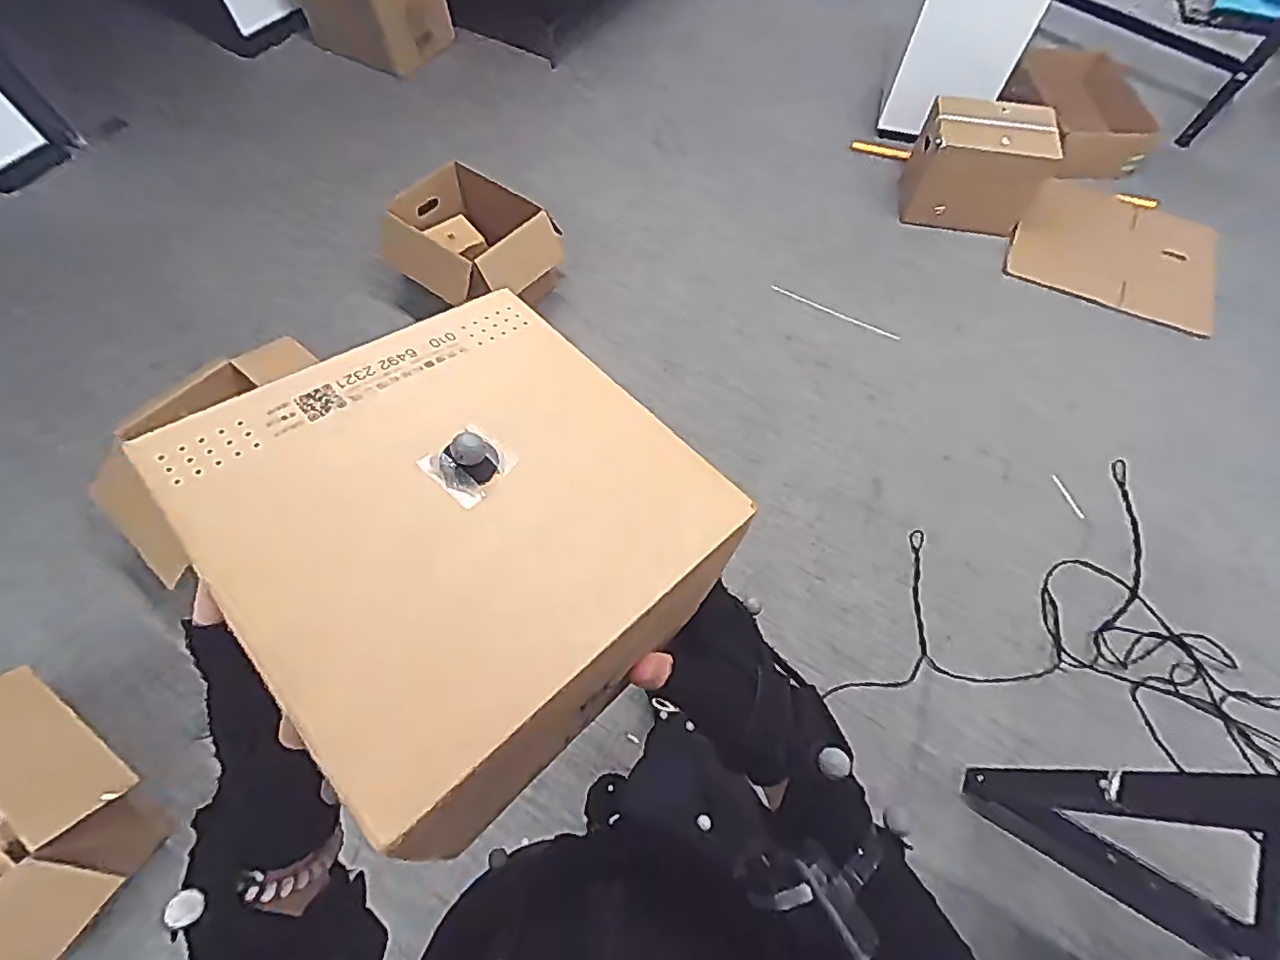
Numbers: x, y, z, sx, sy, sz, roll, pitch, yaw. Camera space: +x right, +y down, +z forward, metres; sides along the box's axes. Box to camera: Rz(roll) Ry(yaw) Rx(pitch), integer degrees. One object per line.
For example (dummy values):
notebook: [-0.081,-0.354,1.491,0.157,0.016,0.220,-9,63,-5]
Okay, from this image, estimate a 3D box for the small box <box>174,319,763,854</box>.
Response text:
small box: [-0.075,0.044,0.272,0.168,0.179,0.176,-36,68,-30]
